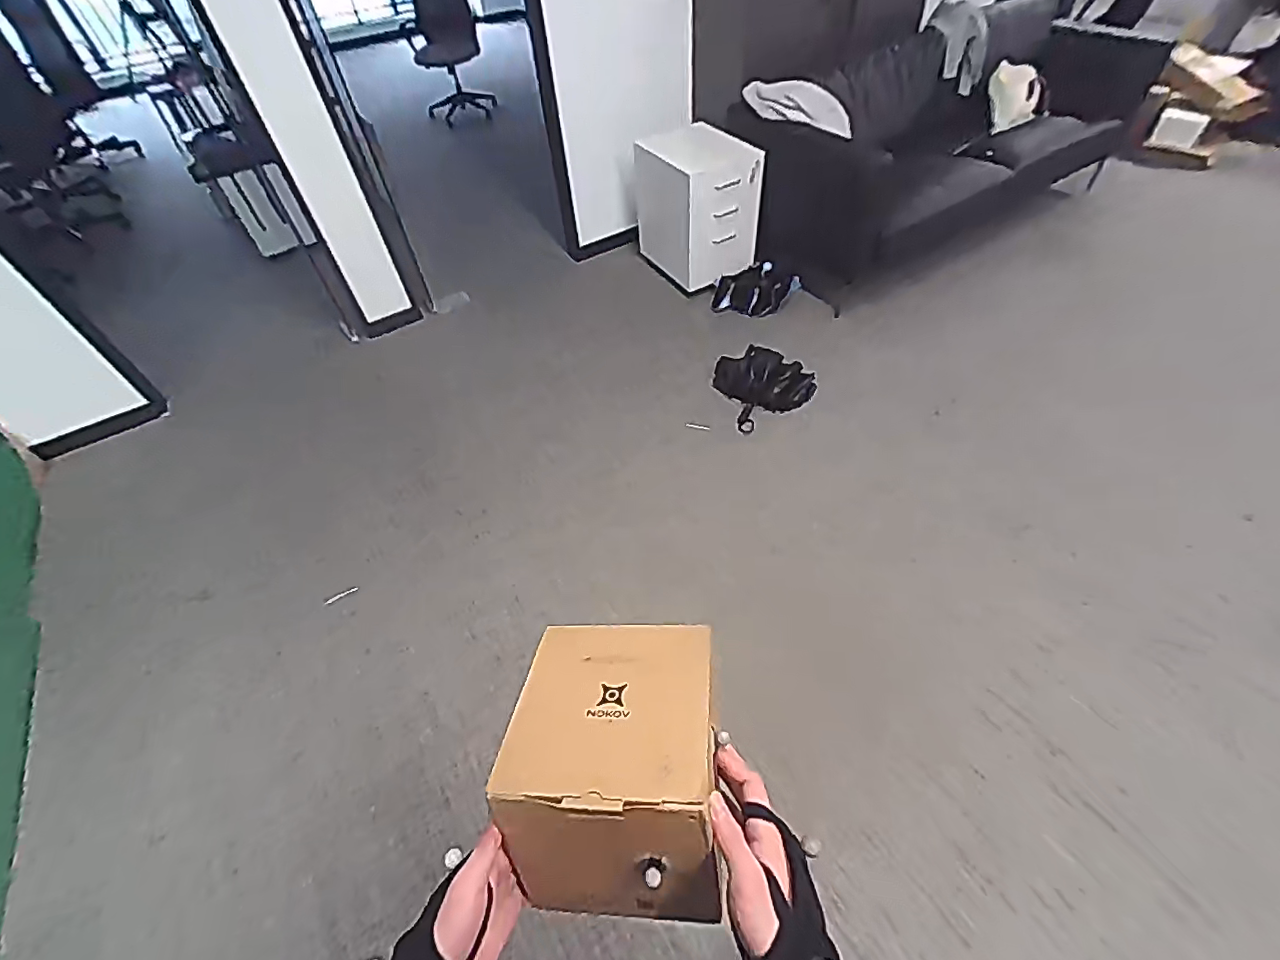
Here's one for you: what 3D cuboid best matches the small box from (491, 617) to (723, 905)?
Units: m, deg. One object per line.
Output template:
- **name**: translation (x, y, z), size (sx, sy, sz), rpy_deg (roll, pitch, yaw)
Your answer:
- **small box**: translation (-0.011, 0.249, 0.495), size (0.168, 0.176, 0.179), rpy_deg (-3, 28, 9)
